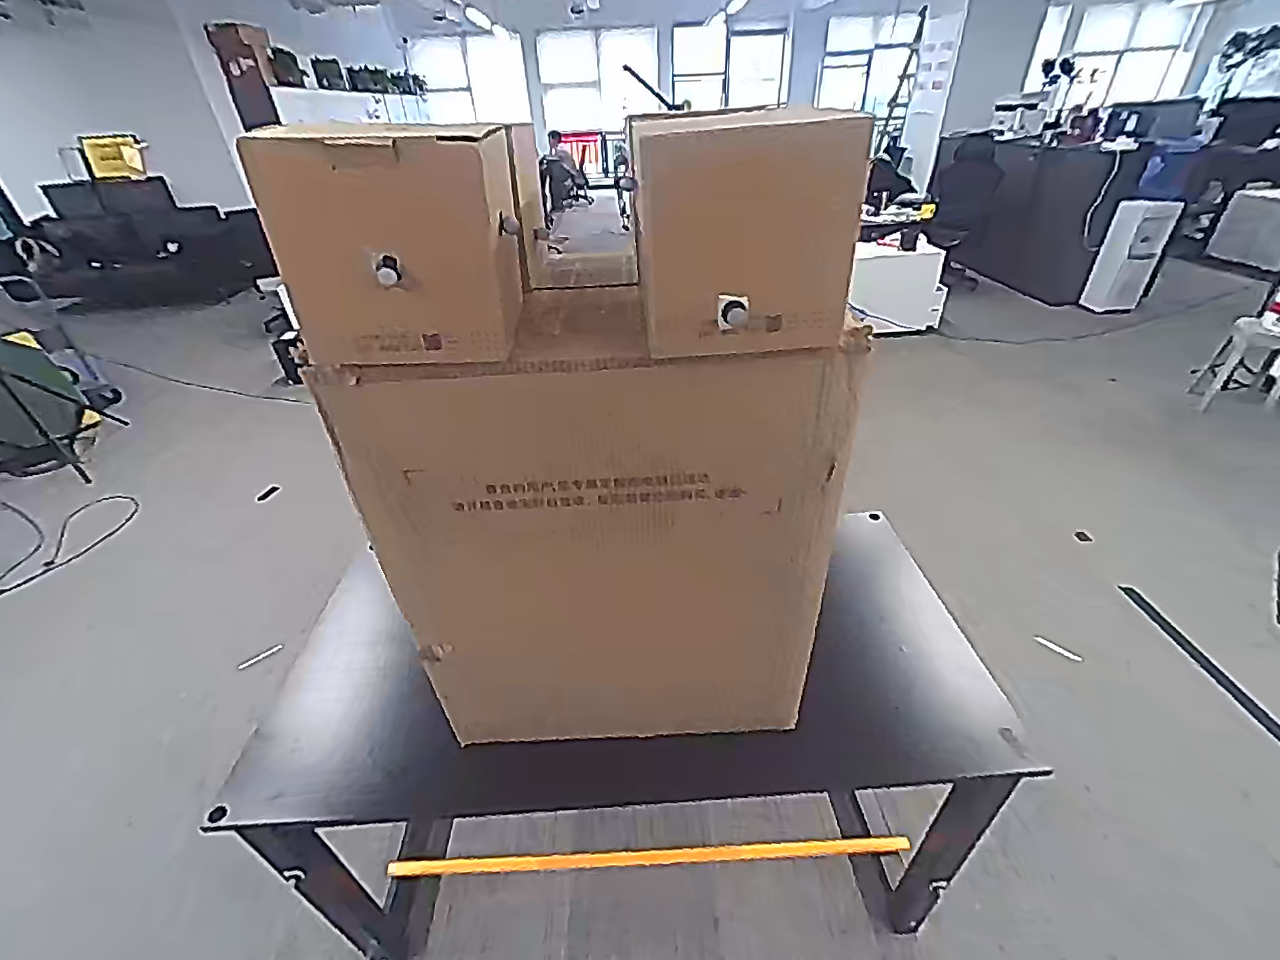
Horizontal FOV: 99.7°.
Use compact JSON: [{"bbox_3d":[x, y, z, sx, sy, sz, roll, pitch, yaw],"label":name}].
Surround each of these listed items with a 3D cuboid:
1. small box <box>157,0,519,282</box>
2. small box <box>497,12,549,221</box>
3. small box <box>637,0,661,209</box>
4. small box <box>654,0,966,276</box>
[{"bbox_3d":[-0.185,-0.254,0.403,0.168,0.176,0.179,-3,37,-6],"label":"small box"},{"bbox_3d":[-0.201,-0.369,0.571,0.179,0.176,0.168,-1,34,0],"label":"small box"},{"bbox_3d":[0.084,-0.393,0.582,0.168,0.176,0.179,-5,32,0],"label":"small box"},{"bbox_3d":[0.100,-0.263,0.403,0.168,0.176,0.179,-6,37,0],"label":"small box"}]
